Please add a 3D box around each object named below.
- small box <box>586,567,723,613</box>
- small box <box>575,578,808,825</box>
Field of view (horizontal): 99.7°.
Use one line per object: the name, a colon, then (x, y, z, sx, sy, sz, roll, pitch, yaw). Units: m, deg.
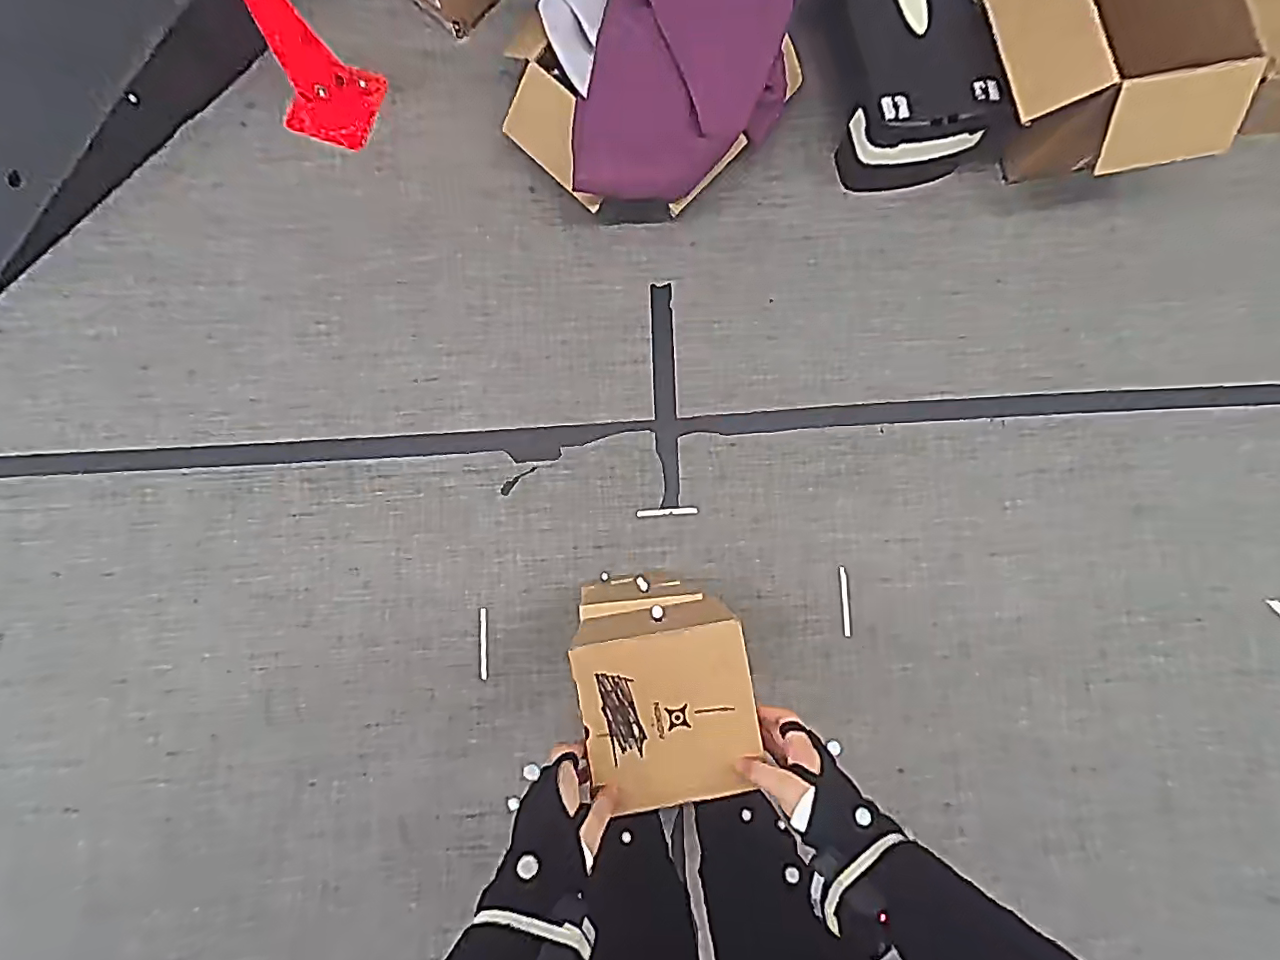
small box: (0.022, 0.208, 0.702, 0.168, 0.176, 0.179, -5, 85, -1)
small box: (0.041, 0.197, 0.531, 0.179, 0.176, 0.168, -9, 86, -3)
